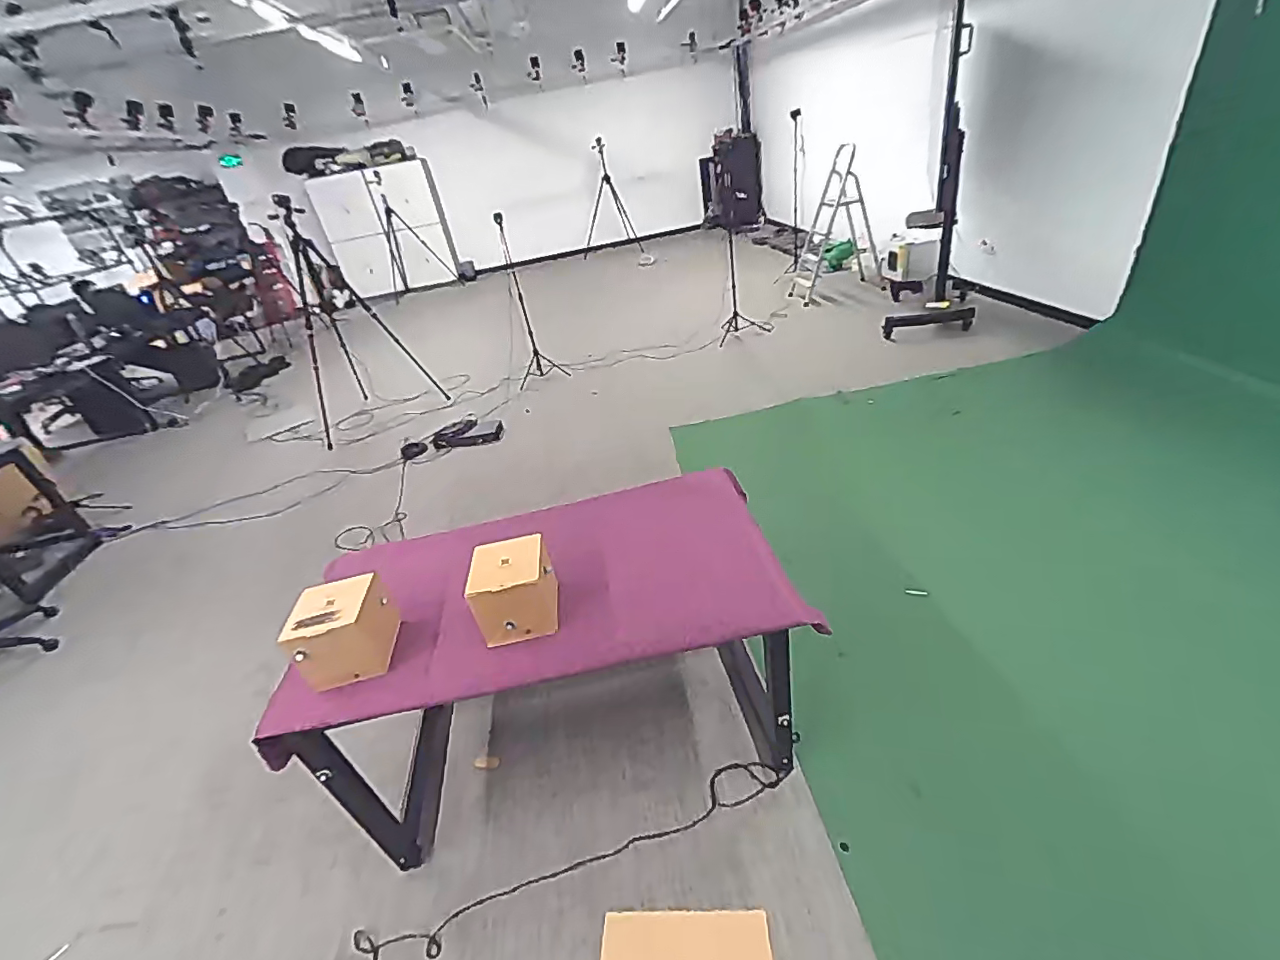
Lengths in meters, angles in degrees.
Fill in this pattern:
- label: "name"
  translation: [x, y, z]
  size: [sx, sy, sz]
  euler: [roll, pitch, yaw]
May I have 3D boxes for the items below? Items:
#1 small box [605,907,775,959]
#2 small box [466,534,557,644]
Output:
- label: "small box"
  translation: [0.052, 0.546, 0.505]
  size: [0.168, 0.176, 0.179]
  euler: [-6, 22, 7]
- label: "small box"
  translation: [-0.295, 0.257, 1.278]
  size: [0.168, 0.176, 0.179]
  euler: [-11, 32, -2]
